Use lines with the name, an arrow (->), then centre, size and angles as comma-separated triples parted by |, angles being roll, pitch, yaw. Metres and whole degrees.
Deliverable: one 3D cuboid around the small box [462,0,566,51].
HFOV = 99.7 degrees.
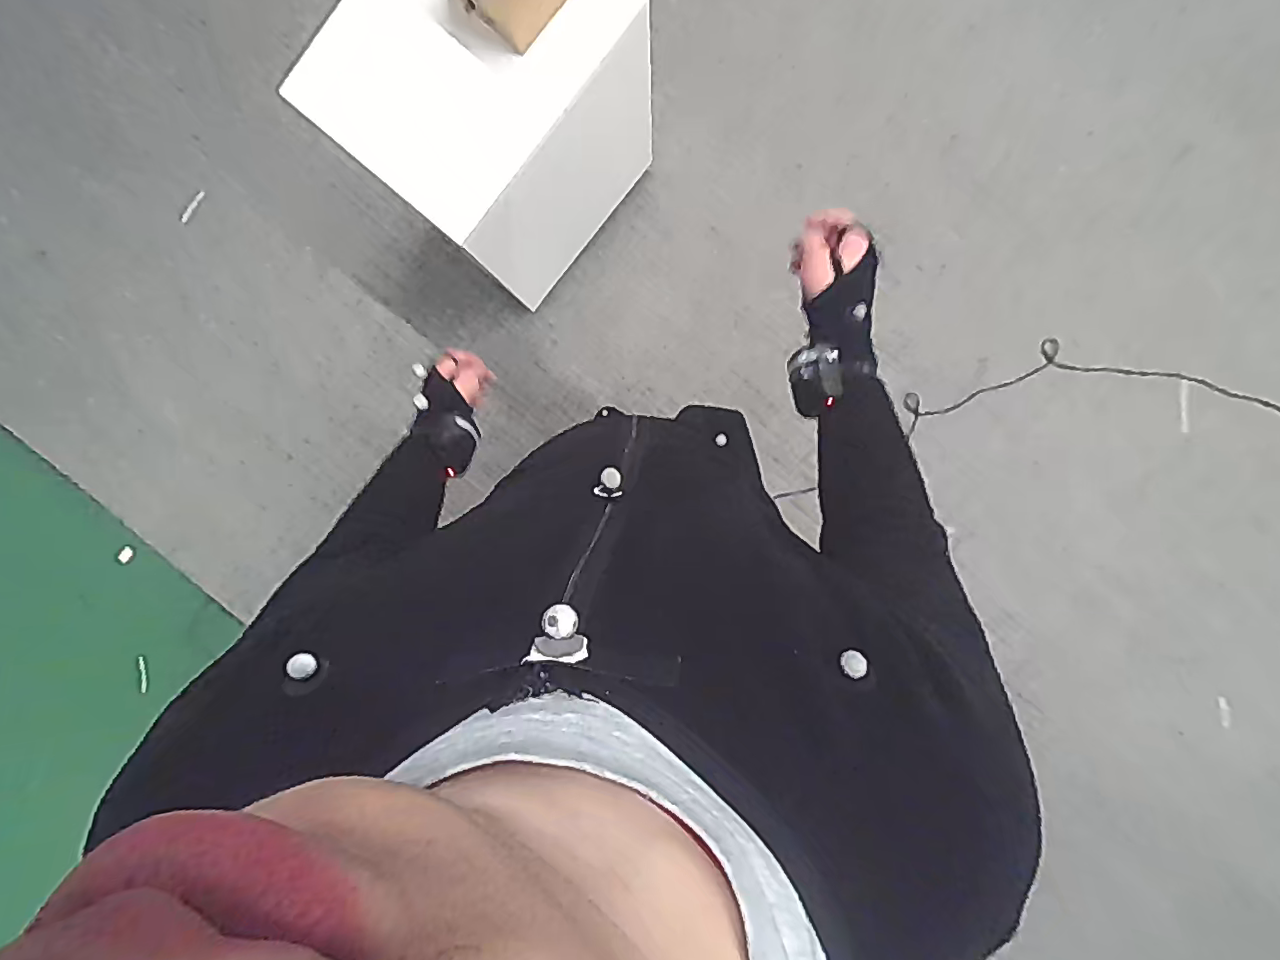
small box -> -0.199, -0.805, 0.796 | 0.168, 0.176, 0.179 | 42, 97, -1
